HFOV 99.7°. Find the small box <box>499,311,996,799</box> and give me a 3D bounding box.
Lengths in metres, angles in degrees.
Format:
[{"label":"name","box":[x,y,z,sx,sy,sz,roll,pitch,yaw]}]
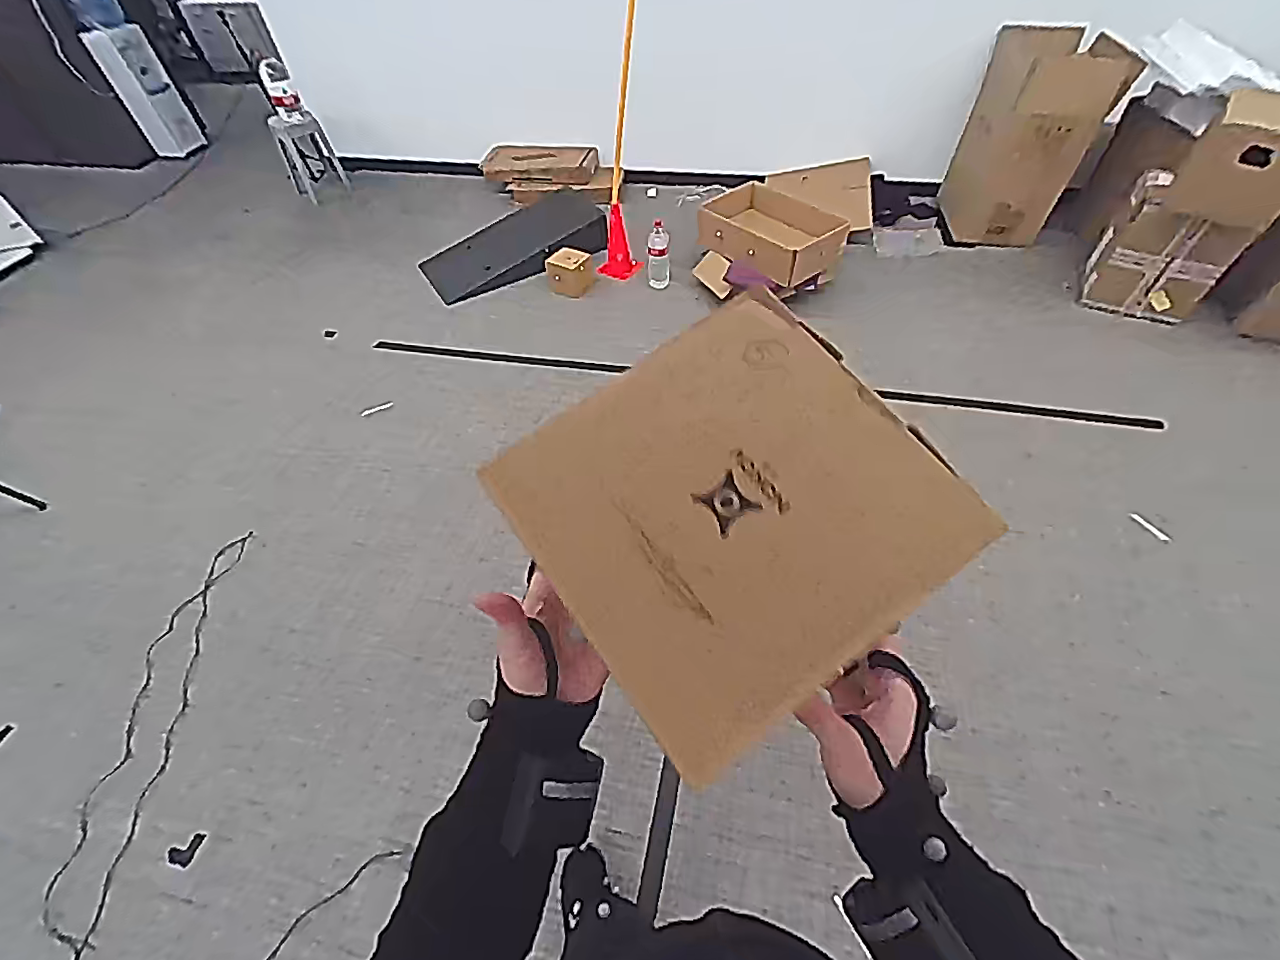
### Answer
[{"label":"small box","box":[0.049,0.043,0.327,0.179,0.176,0.168,-37,74,-9]}]
